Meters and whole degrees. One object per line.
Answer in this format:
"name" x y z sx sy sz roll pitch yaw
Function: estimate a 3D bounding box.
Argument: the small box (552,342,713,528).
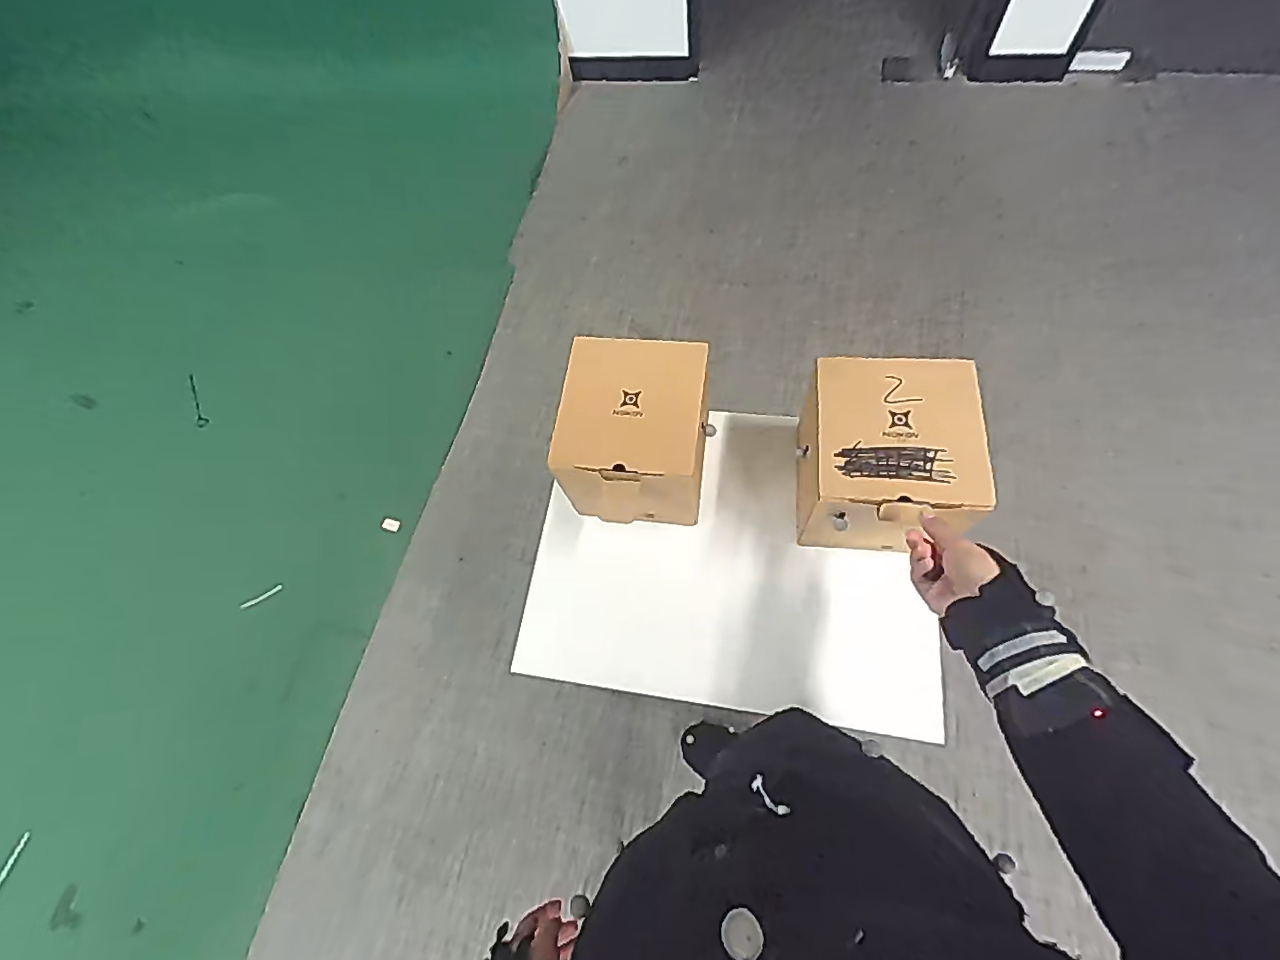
"small box" 0.001 -0.052 0.692 0.168 0.176 0.179 5 69 9
